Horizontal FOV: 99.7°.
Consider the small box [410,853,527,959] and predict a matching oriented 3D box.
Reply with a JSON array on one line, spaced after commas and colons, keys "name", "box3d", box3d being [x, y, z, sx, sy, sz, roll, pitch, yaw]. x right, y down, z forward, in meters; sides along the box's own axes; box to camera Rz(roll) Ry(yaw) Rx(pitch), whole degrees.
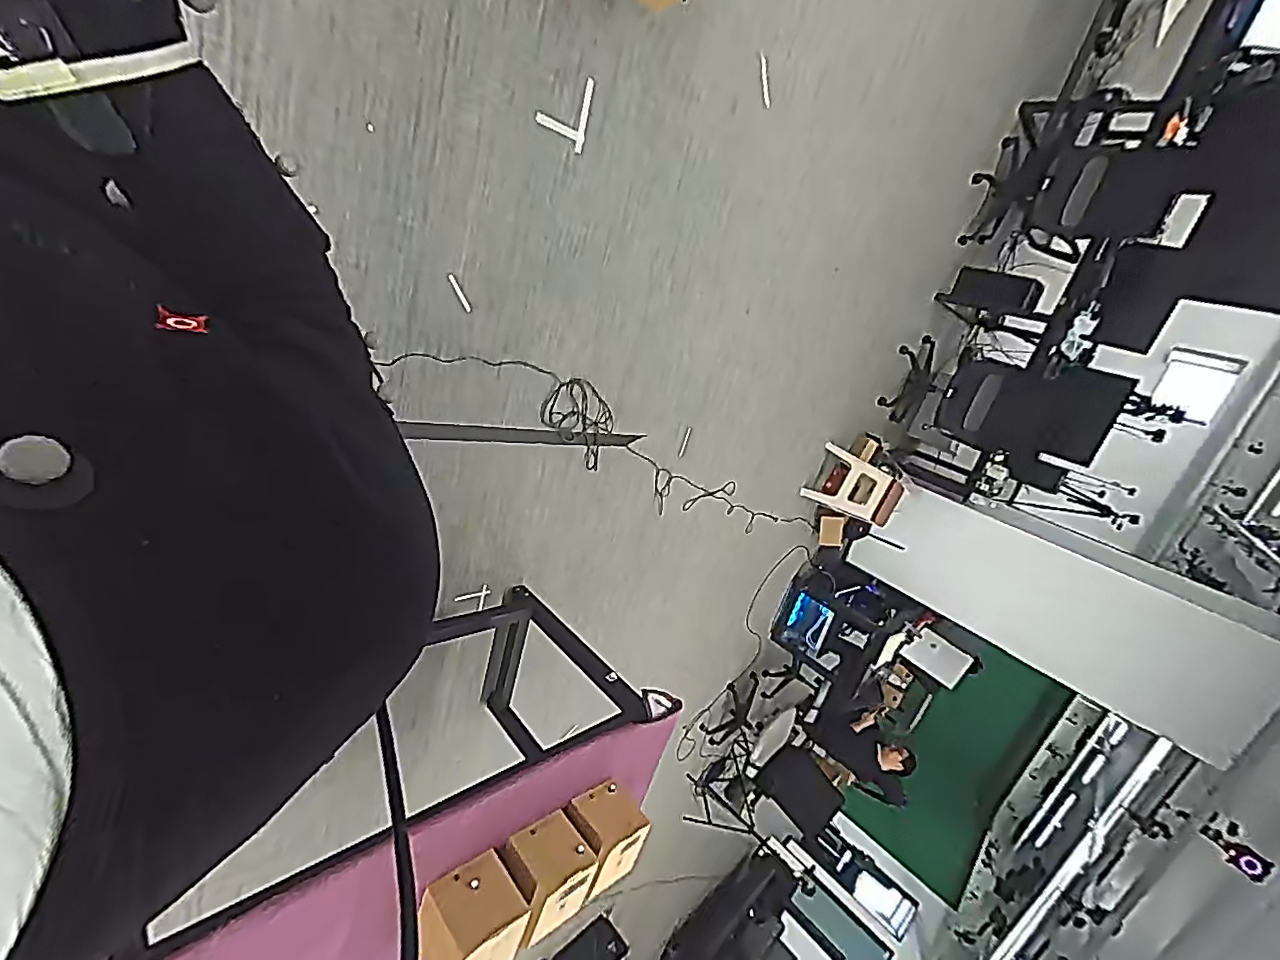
[{"name": "small box", "box3d": [-0.378, 0.972, 1.177, 0.168, 0.176, 0.179, 1, 114, -50]}]
